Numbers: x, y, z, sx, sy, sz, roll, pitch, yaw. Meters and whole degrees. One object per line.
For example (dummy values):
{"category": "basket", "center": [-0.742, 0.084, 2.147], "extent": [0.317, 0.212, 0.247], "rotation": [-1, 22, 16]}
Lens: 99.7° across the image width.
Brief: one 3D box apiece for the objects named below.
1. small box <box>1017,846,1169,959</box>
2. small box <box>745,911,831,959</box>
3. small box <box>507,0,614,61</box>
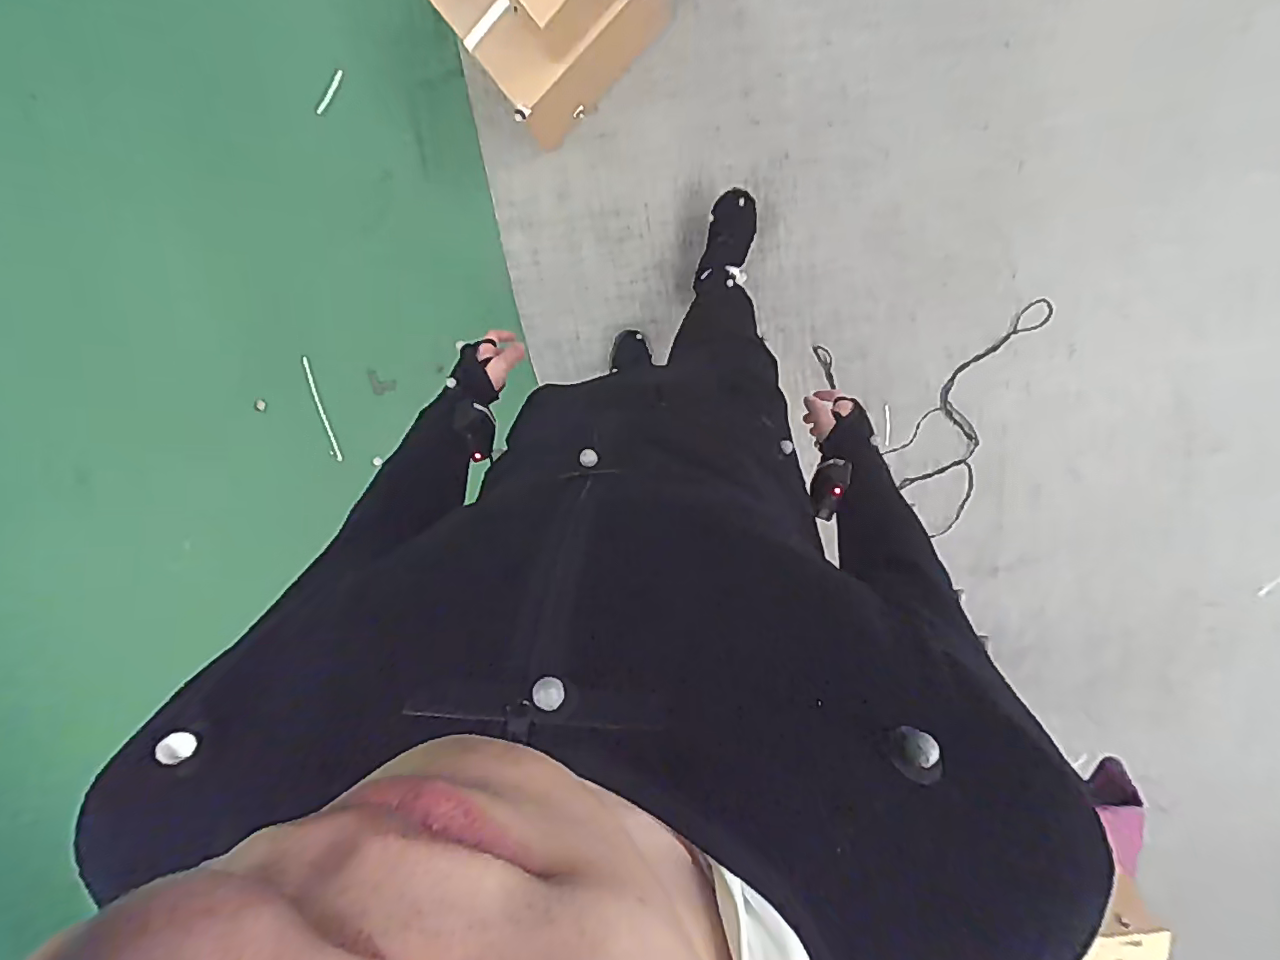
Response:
{"category": "small box", "center": [0.900, 0.886, 1.096], "extent": [0.168, 0.176, 0.179], "rotation": [-10, 111, 5]}
{"category": "small box", "center": [0.331, 1.097, 1.191], "extent": [0.179, 0.176, 0.168], "rotation": [-8, 109, 3]}
{"category": "small box", "center": [-0.148, -0.878, 0.922], "extent": [0.179, 0.176, 0.168], "rotation": [-39, 105, 14]}
